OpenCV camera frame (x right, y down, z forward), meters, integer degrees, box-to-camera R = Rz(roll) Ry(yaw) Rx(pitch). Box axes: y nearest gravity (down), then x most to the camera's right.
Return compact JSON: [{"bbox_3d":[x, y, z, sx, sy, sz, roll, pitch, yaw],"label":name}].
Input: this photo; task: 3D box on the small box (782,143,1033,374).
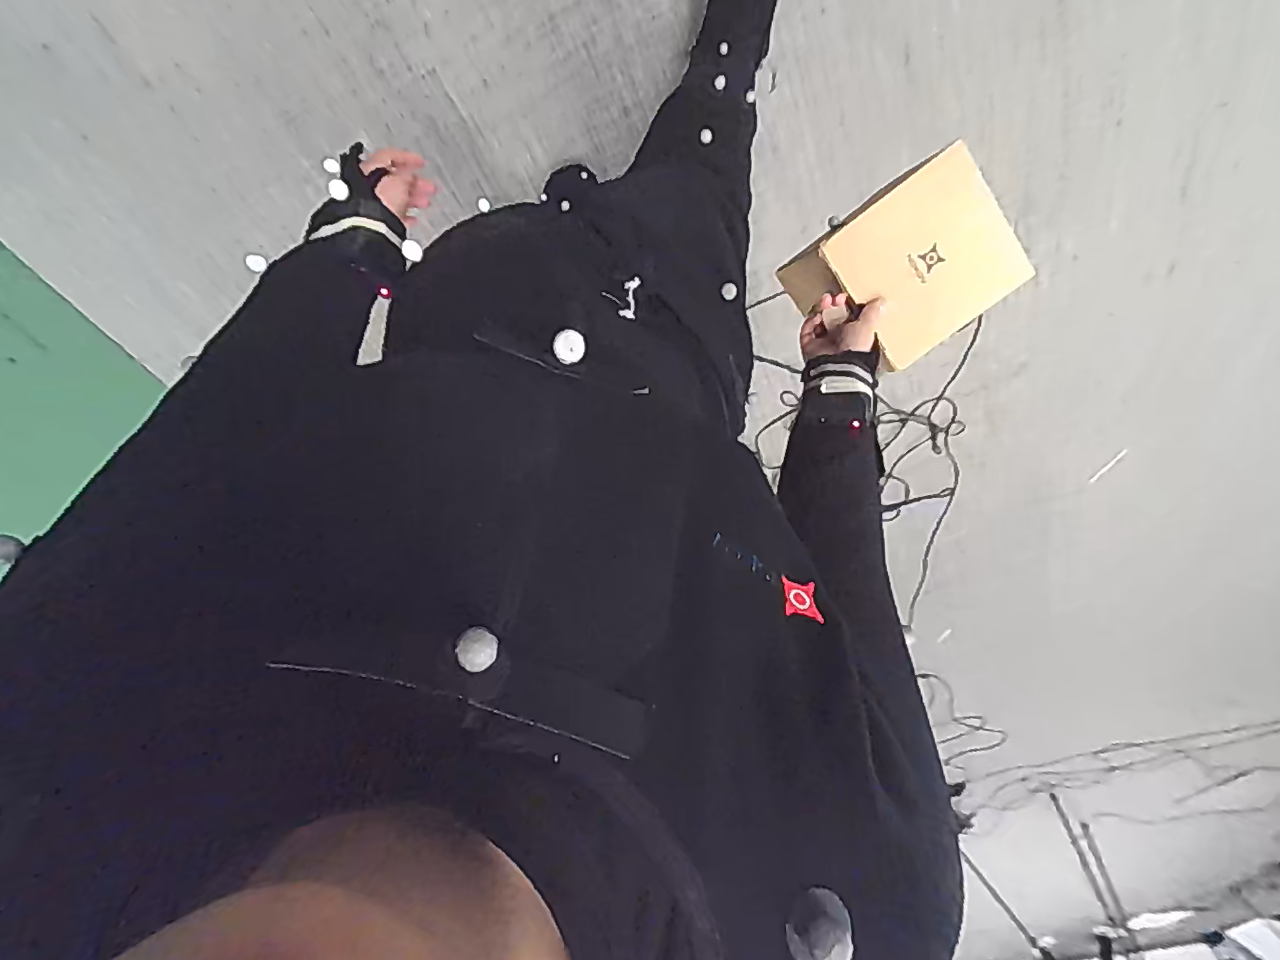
[{"bbox_3d":[0.300,-0.246,0.645,0.179,0.176,0.168,-38,100,6],"label":"small box"}]
